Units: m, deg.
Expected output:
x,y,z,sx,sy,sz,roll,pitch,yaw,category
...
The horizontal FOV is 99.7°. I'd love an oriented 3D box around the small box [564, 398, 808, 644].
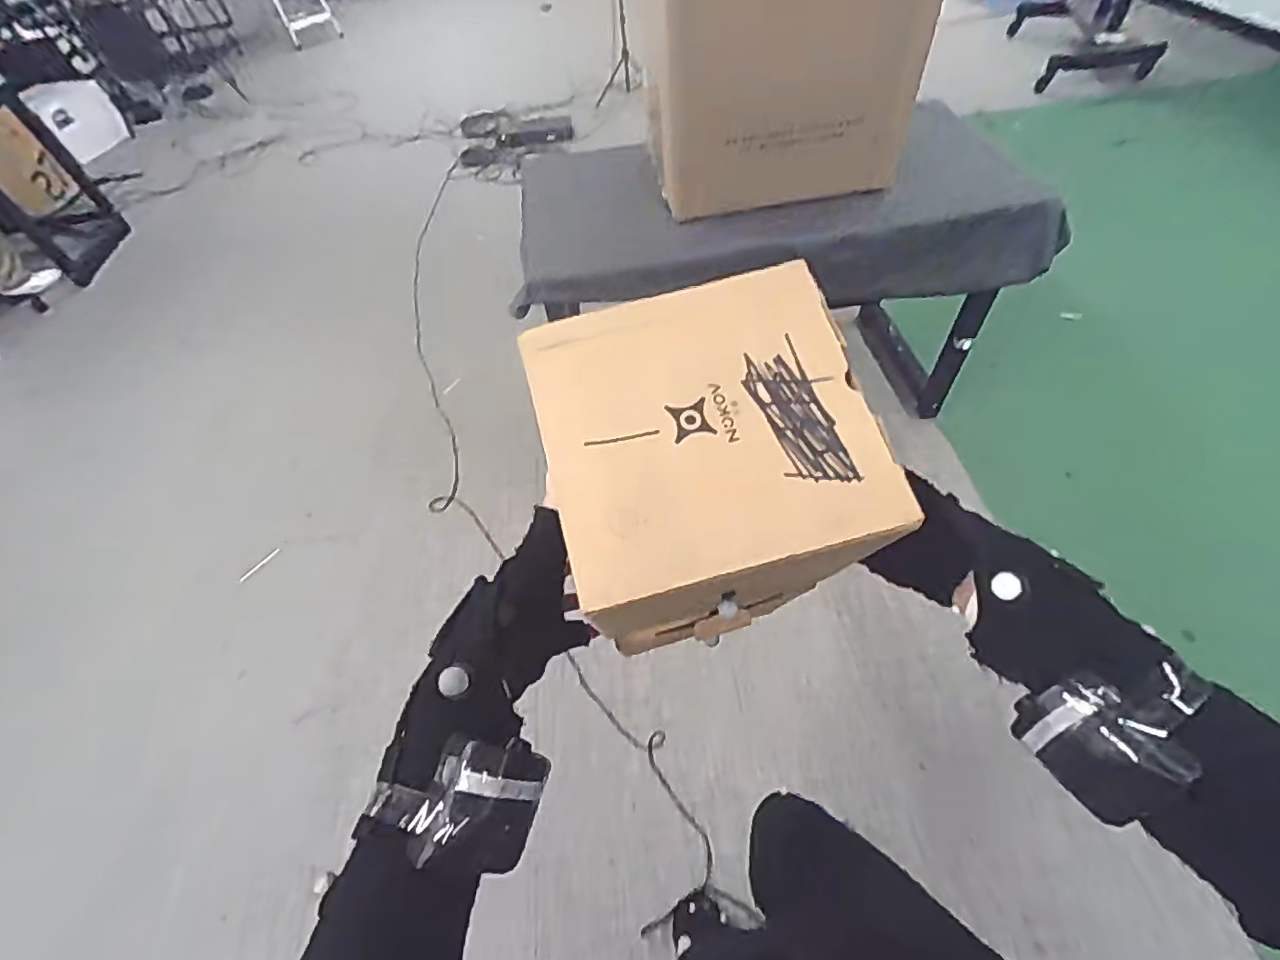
x,y,z,sx,sy,sz,roll,pitch,yaw,category
0.035,0.052,0.522,0.168,0.176,0.179,-15,71,-5,small box
